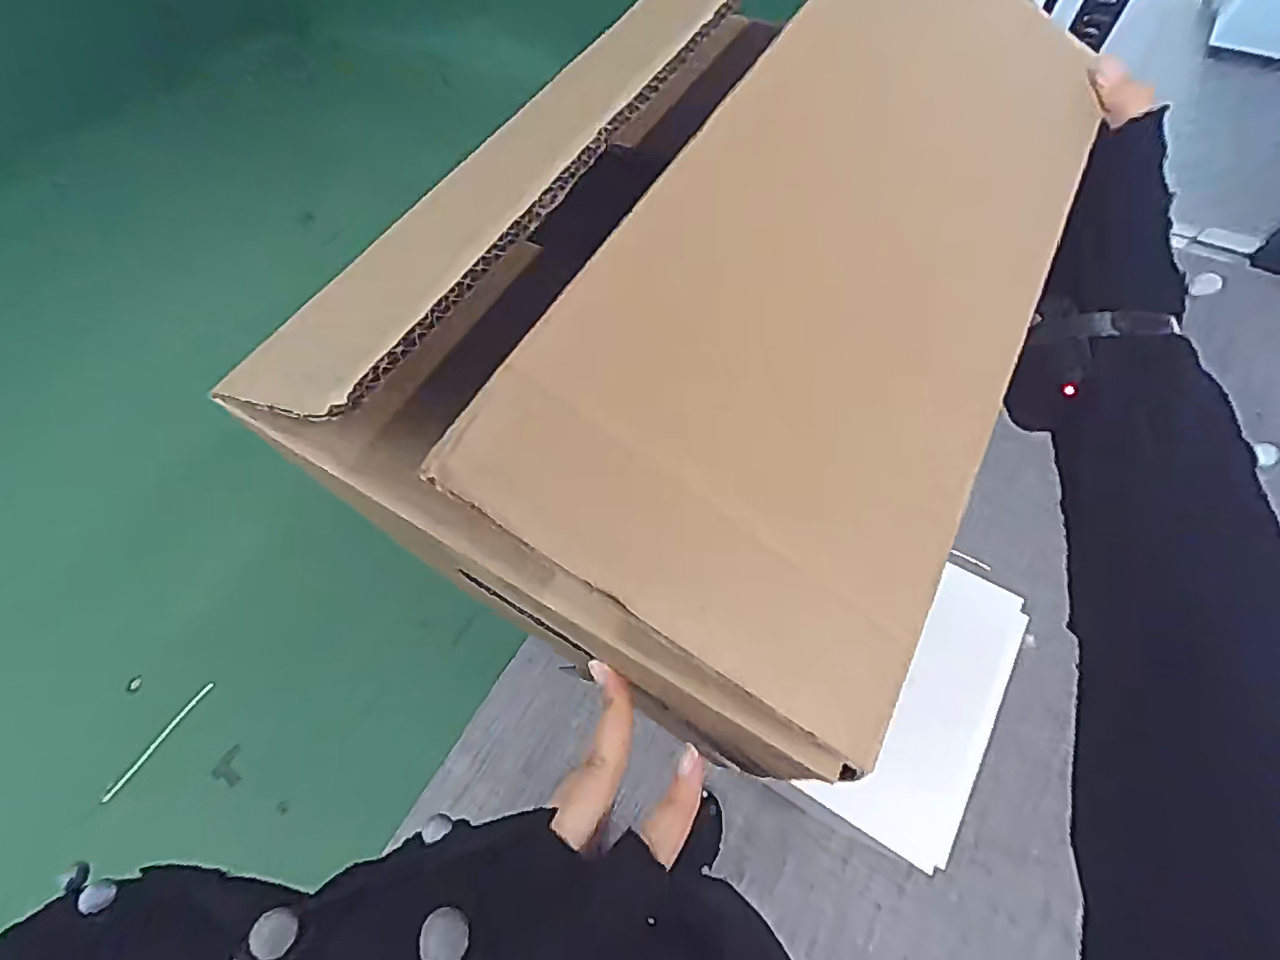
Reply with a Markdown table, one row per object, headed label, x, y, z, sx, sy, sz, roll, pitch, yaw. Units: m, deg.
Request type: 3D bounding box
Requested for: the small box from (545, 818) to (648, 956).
| label | x | y | z | sx | sy | sz | roll | pitch | yaw |
| --- | --- | --- | --- | --- | --- | --- | --- | --- | --- |
| small box | -0.094 | 0.830 | 1.120 | 0.168 | 0.176 | 0.179 | 16 | 66 | -8 |
